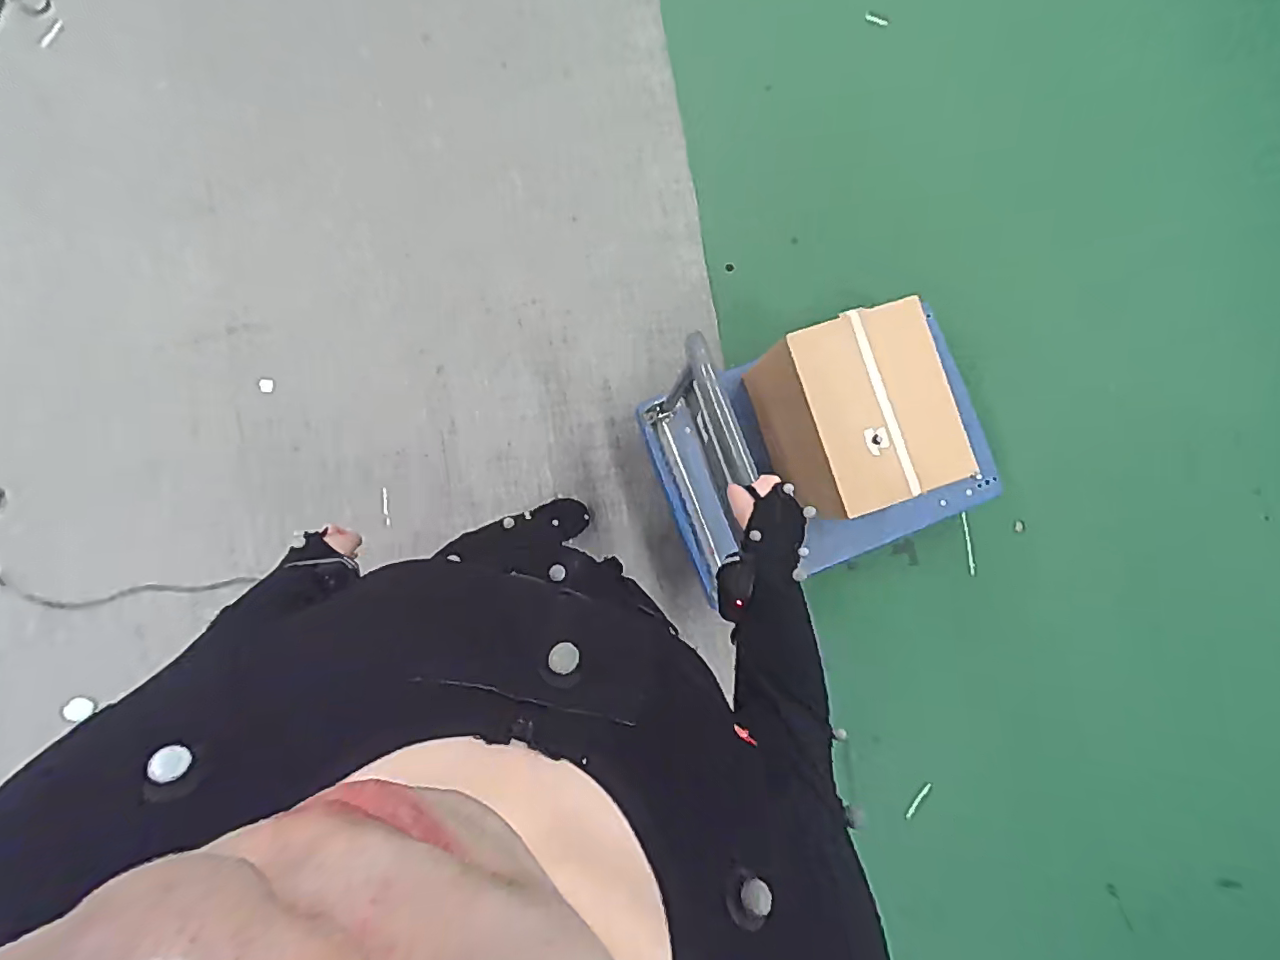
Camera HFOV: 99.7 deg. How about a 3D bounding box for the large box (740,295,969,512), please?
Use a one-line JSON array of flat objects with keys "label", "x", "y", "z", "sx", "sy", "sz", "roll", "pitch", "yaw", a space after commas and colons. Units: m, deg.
[{"label": "large box", "x": 0.482, "y": -0.161, "z": 1.289, "sx": 0.320, "sy": 0.320, "sz": 0.408, "roll": -18, "pitch": 89, "yaw": -7}]
